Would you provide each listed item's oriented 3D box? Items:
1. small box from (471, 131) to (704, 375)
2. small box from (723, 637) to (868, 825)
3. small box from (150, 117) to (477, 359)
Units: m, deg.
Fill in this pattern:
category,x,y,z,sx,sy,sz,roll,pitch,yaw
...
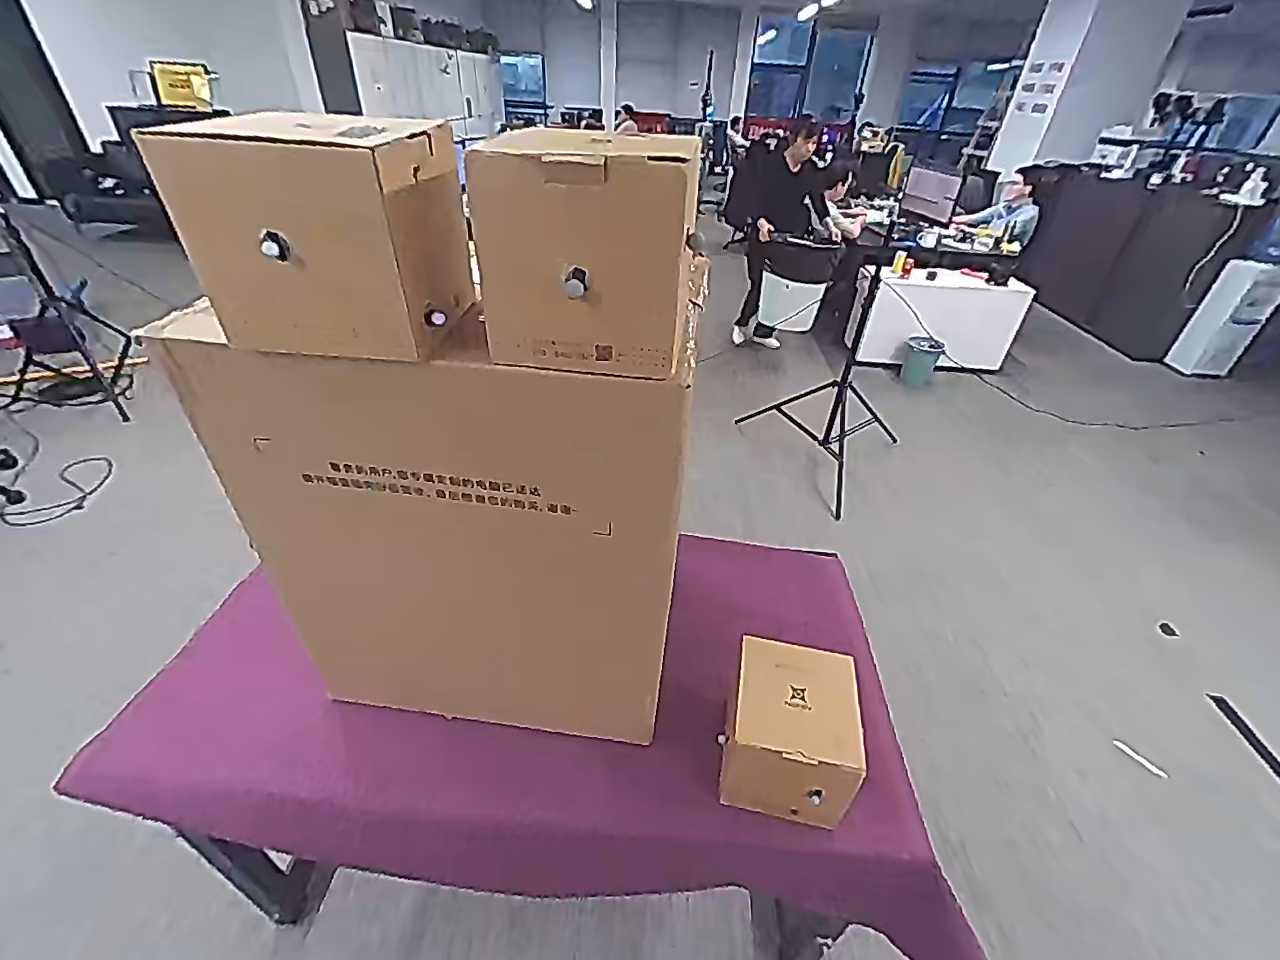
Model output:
category,x,y,z,sx,sy,sz,roll,pitch,yaw
small box,-0.034,-0.211,0.498,0.168,0.176,0.179,7,38,4
small box,0.217,0.365,0.790,0.168,0.176,0.179,9,35,8
small box,-0.264,-0.222,0.496,0.179,0.176,0.168,3,37,2
